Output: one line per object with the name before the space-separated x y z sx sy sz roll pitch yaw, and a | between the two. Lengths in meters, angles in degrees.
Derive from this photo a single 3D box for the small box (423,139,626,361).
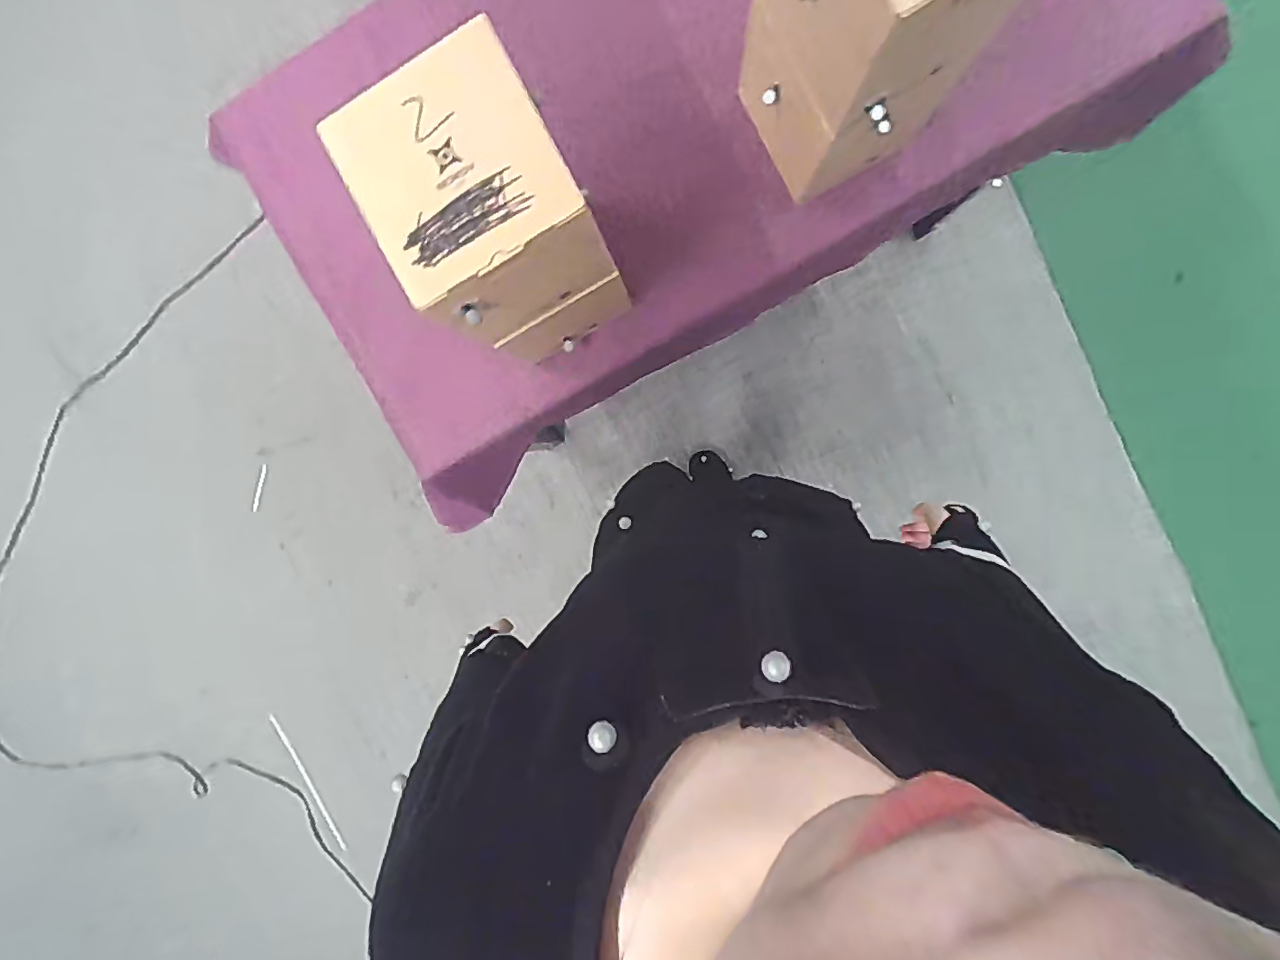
small box | -0.131 -0.271 0.684 0.168 0.176 0.179 -28 93 7

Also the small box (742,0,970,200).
small box | 0.233 -0.476 0.637 0.168 0.176 0.179 -29 91 7

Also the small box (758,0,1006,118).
small box | 0.221 -0.464 0.473 0.168 0.176 0.179 -29 92 6
